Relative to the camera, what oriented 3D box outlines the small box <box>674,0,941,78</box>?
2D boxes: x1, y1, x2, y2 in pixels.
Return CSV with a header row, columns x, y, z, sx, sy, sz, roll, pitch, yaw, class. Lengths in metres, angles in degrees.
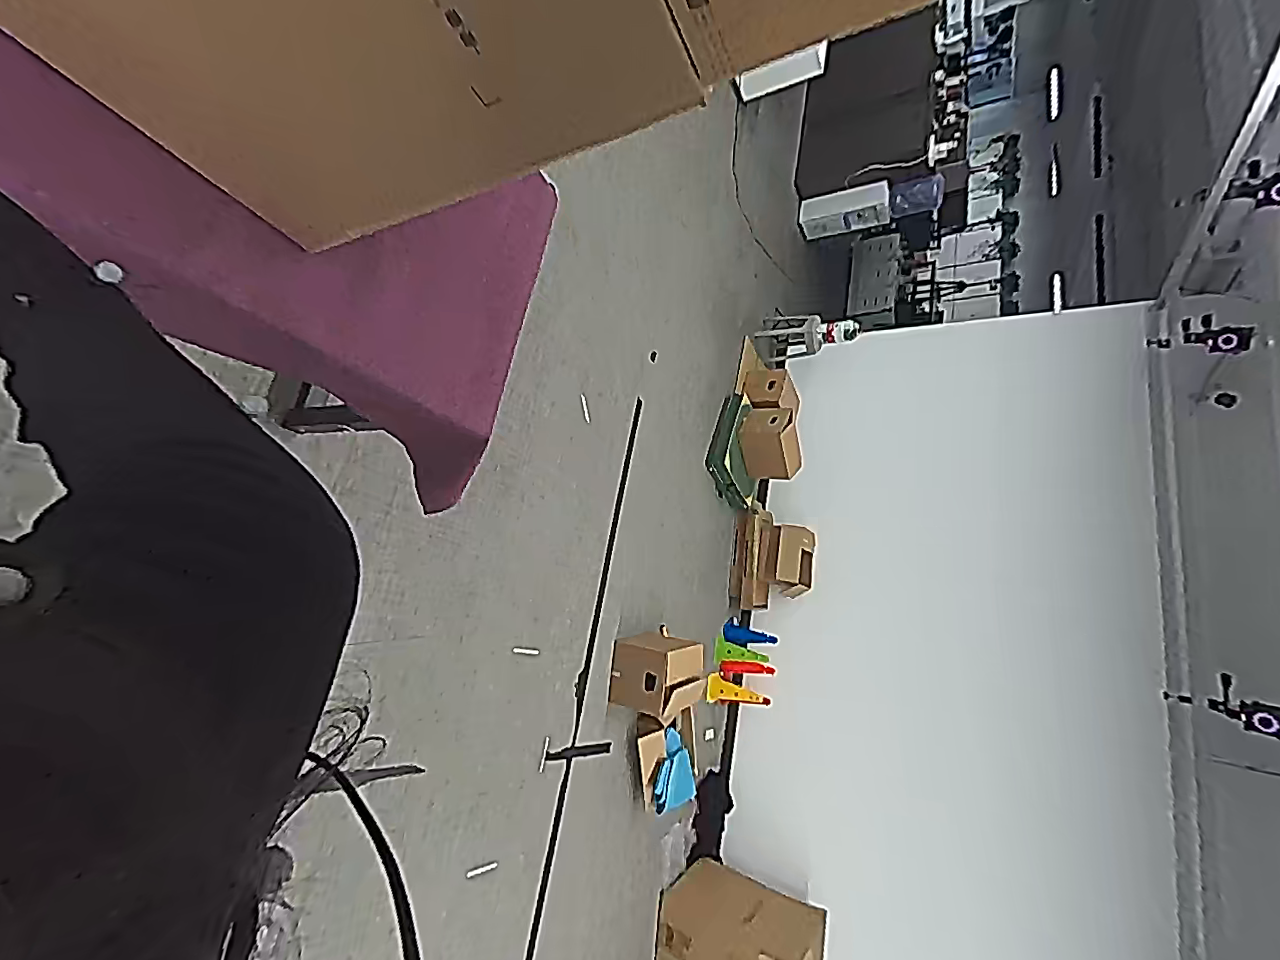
x,y,z,sx,sy,sz,roll,pitch,yaw,class
0.103,-0.411,0.346,0.168,0.176,0.179,39,61,-53,small box
